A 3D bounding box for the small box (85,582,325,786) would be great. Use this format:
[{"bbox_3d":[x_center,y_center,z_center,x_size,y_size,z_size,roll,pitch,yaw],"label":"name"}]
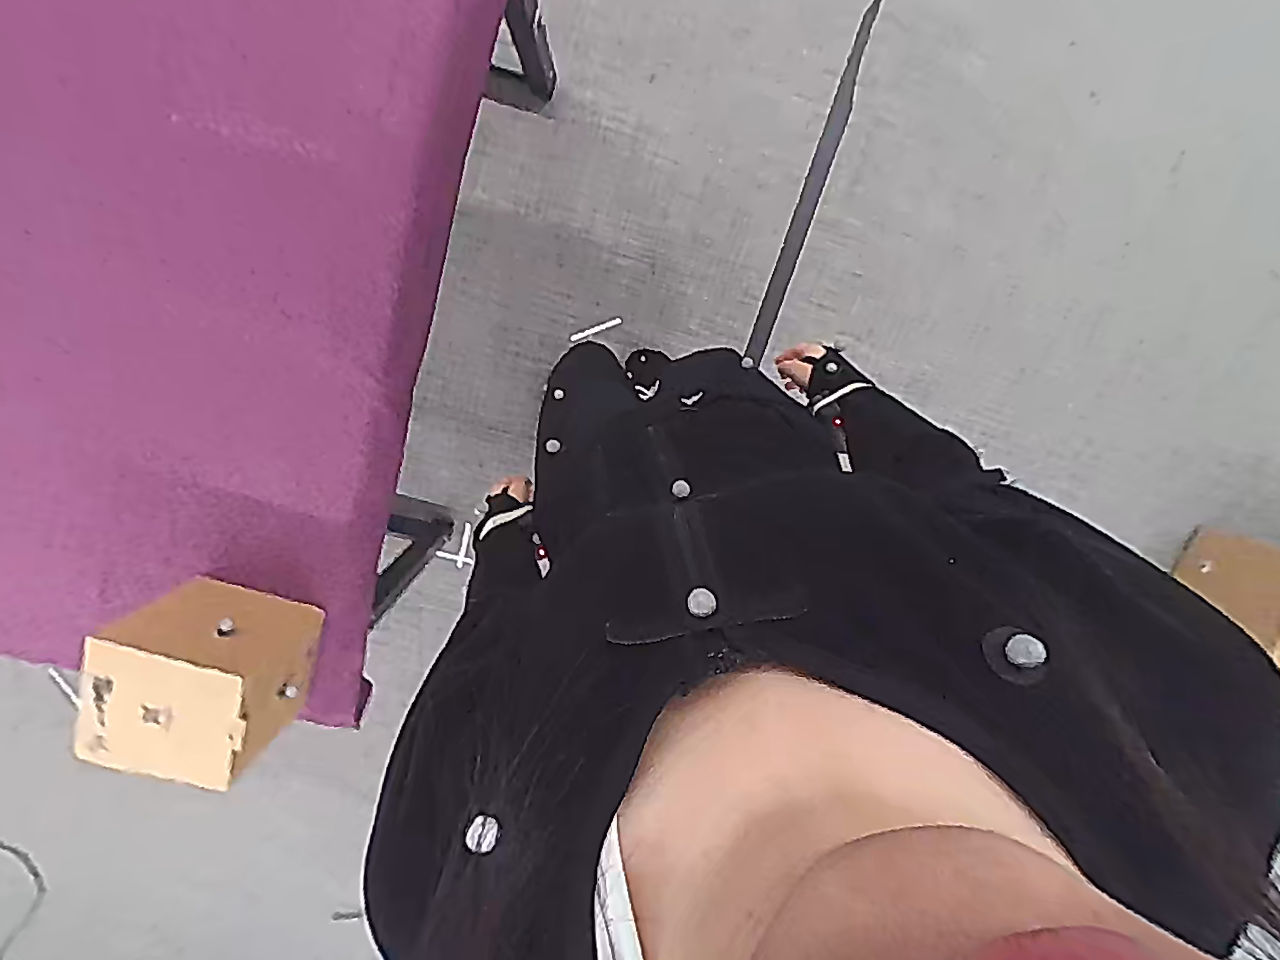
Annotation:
[{"bbox_3d":[-0.547,0.253,0.703,0.179,0.176,0.168,17,102,-6],"label":"small box"}]
